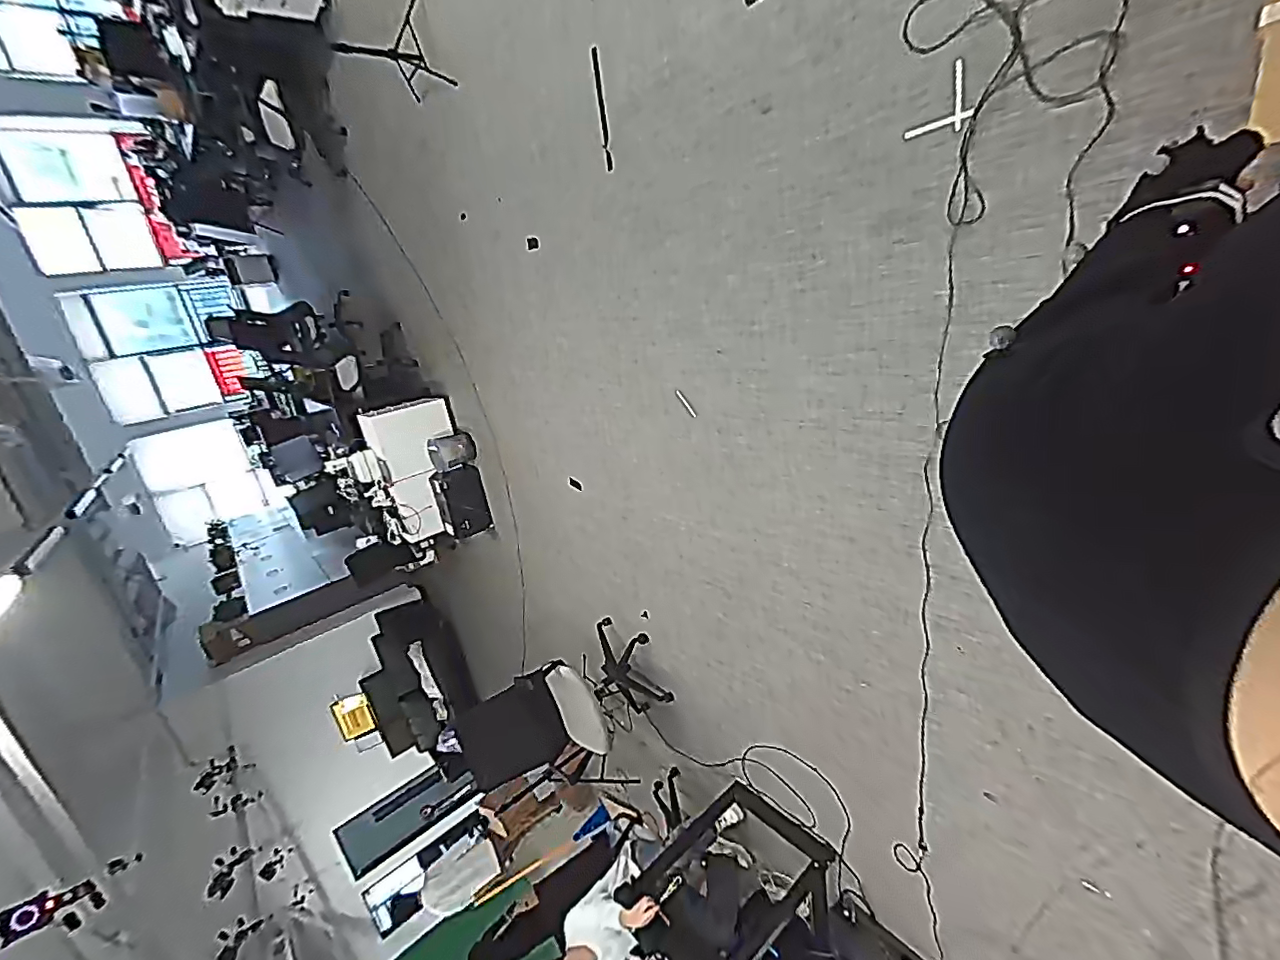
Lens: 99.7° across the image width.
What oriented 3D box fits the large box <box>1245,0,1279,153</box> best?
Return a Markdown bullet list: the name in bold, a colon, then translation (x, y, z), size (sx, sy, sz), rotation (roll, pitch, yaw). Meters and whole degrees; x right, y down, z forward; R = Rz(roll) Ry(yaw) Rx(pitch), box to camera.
- **large box**: translation (1.059, -0.627, 0.648), size (0.408, 0.320, 0.320), rotation (14, 120, 48)
